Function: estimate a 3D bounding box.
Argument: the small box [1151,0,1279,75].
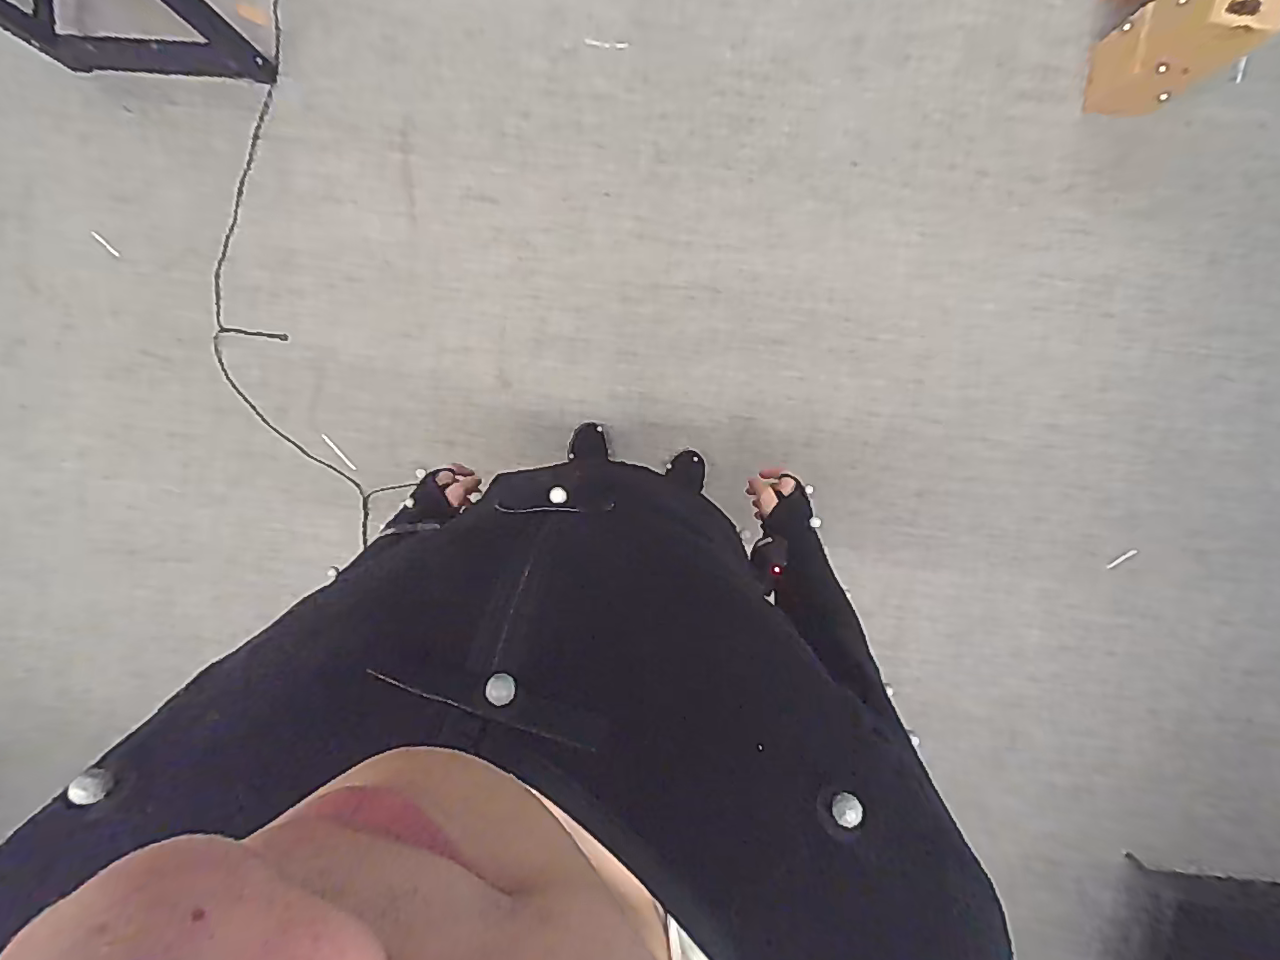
[{"bbox_3d":[1.337,-1.078,1.239,0.168,0.176,0.179,9,96,-1],"label":"small box"}]
